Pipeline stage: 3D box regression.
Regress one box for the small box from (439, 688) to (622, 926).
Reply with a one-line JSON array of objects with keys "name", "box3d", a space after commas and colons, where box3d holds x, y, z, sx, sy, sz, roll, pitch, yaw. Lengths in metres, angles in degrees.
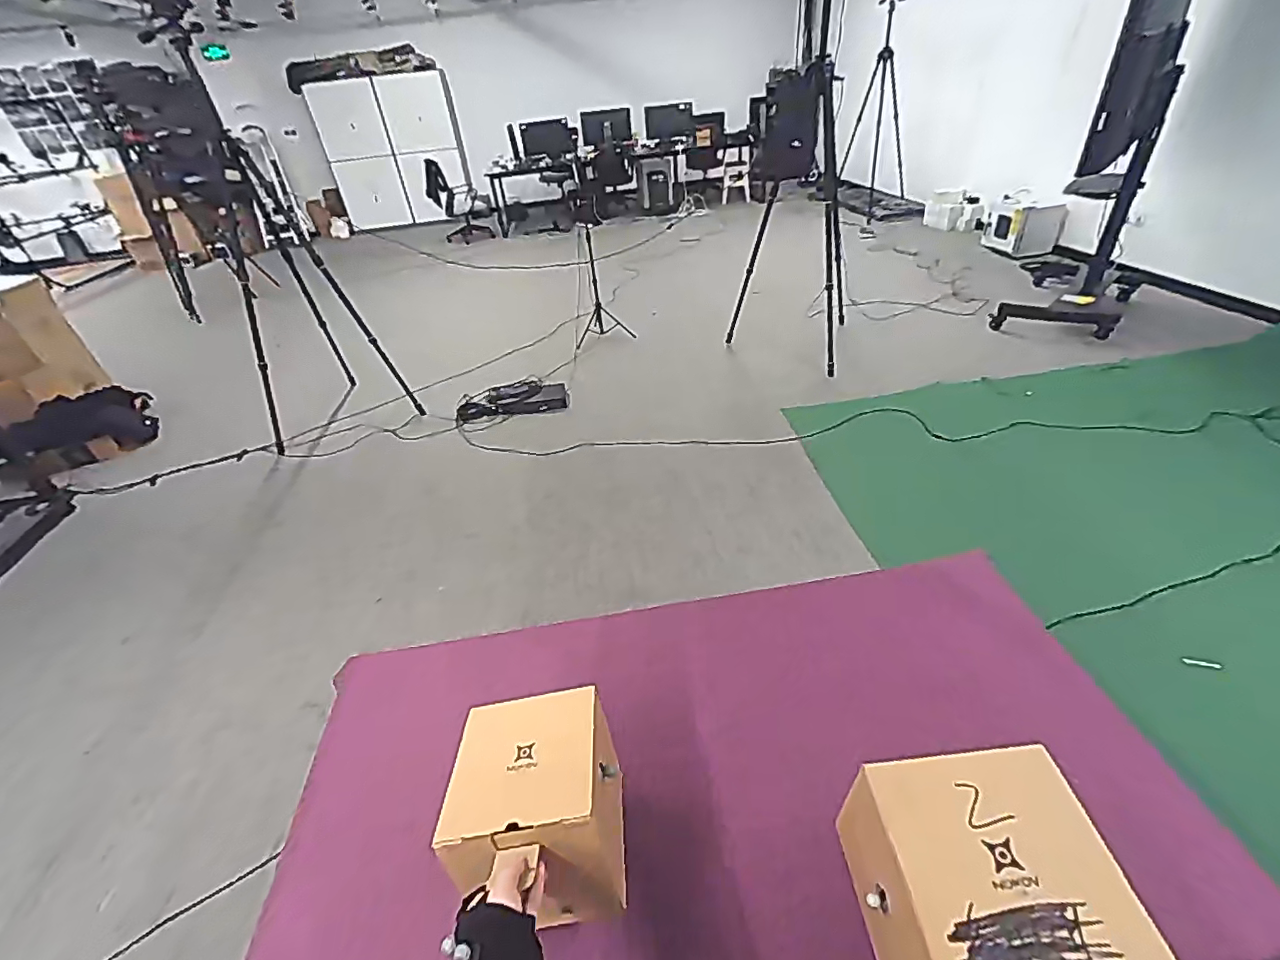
[{"name": "small box", "box3d": [-0.119, 0.393, 0.663, 0.168, 0.176, 0.179, -11, 25, 2]}]
